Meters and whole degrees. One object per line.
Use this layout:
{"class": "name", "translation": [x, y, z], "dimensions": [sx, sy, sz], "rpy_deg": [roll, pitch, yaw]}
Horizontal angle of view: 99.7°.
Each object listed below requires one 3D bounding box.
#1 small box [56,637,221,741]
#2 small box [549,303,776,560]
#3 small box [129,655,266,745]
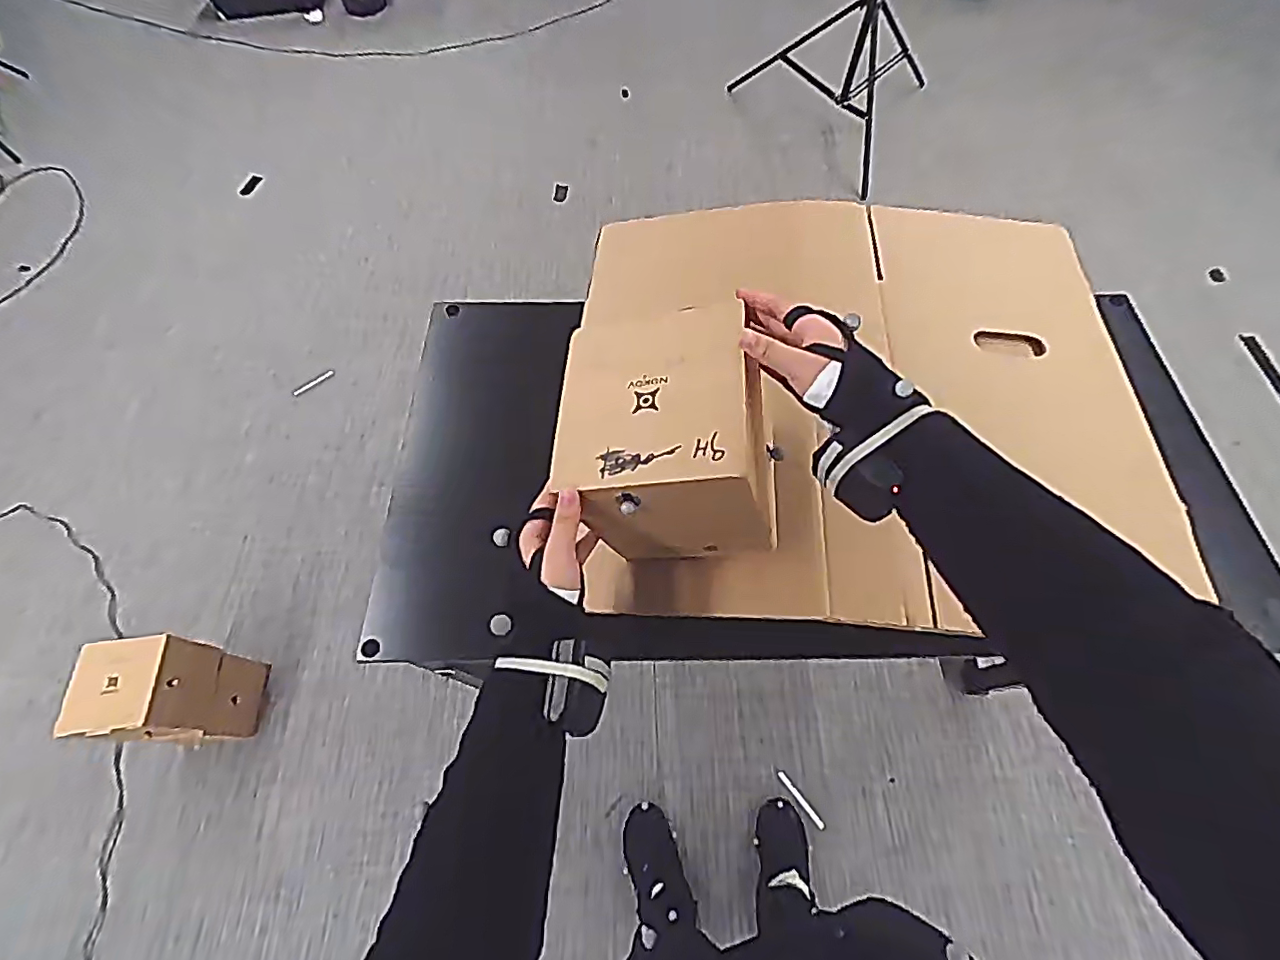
{"class": "small box", "translation": [-1.022, 0.438, 1.123], "dimensions": [0.168, 0.176, 0.179], "rpy_deg": [-7, 62, -3]}
{"class": "small box", "translation": [0.035, -0.034, 0.521], "dimensions": [0.168, 0.176, 0.179], "rpy_deg": [-6, 61, 20]}
{"class": "small box", "translation": [-1.018, 0.517, 1.265], "dimensions": [0.168, 0.176, 0.179], "rpy_deg": [-4, 64, -1]}
